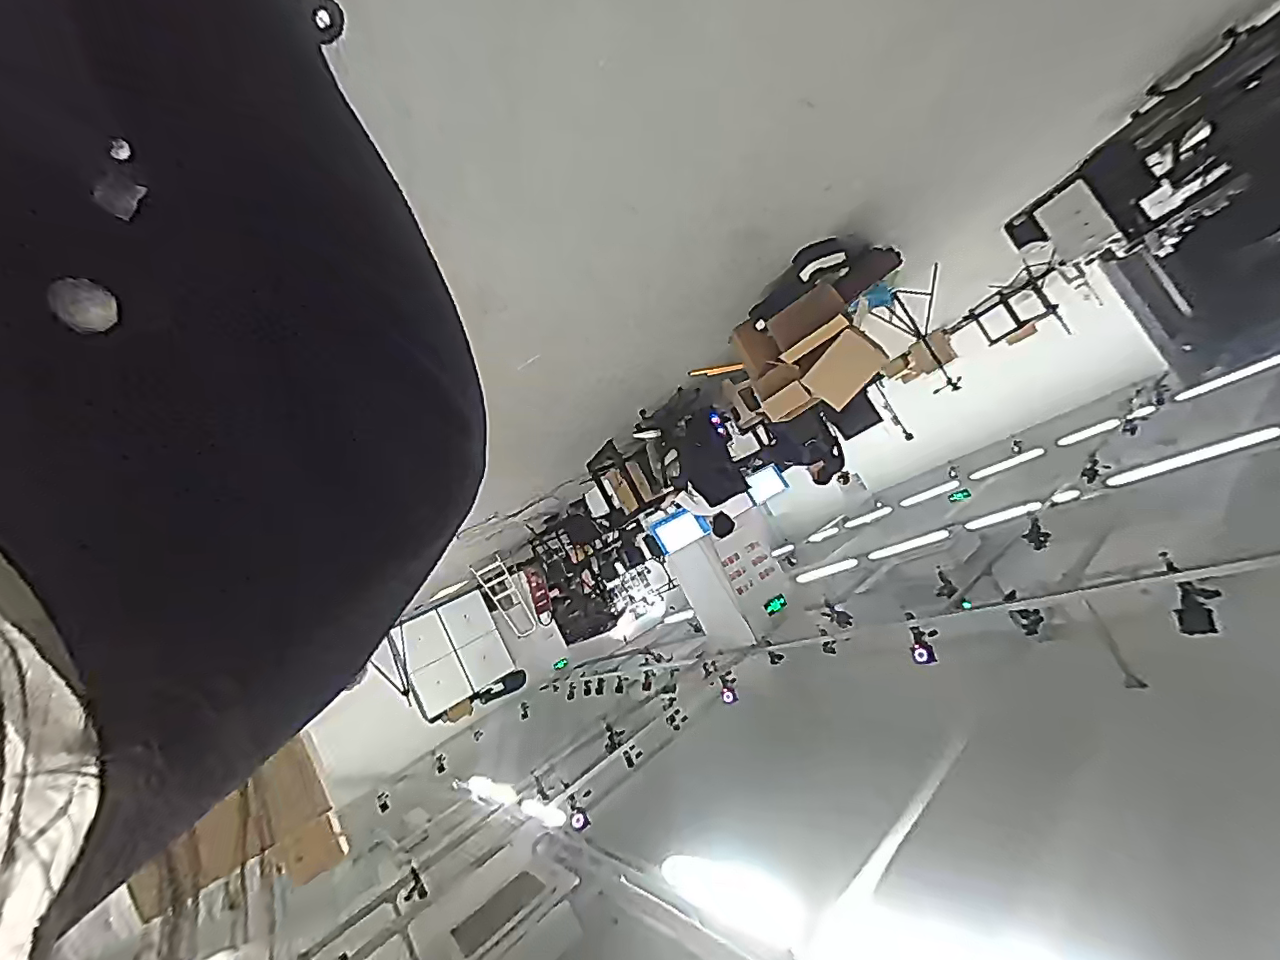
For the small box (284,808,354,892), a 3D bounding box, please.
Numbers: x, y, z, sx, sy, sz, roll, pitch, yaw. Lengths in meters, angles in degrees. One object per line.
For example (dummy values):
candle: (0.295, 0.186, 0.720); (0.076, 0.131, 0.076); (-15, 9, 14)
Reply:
small box: (-1.152, 1.319, 1.943); (0.168, 0.176, 0.179); (-24, 170, -30)
